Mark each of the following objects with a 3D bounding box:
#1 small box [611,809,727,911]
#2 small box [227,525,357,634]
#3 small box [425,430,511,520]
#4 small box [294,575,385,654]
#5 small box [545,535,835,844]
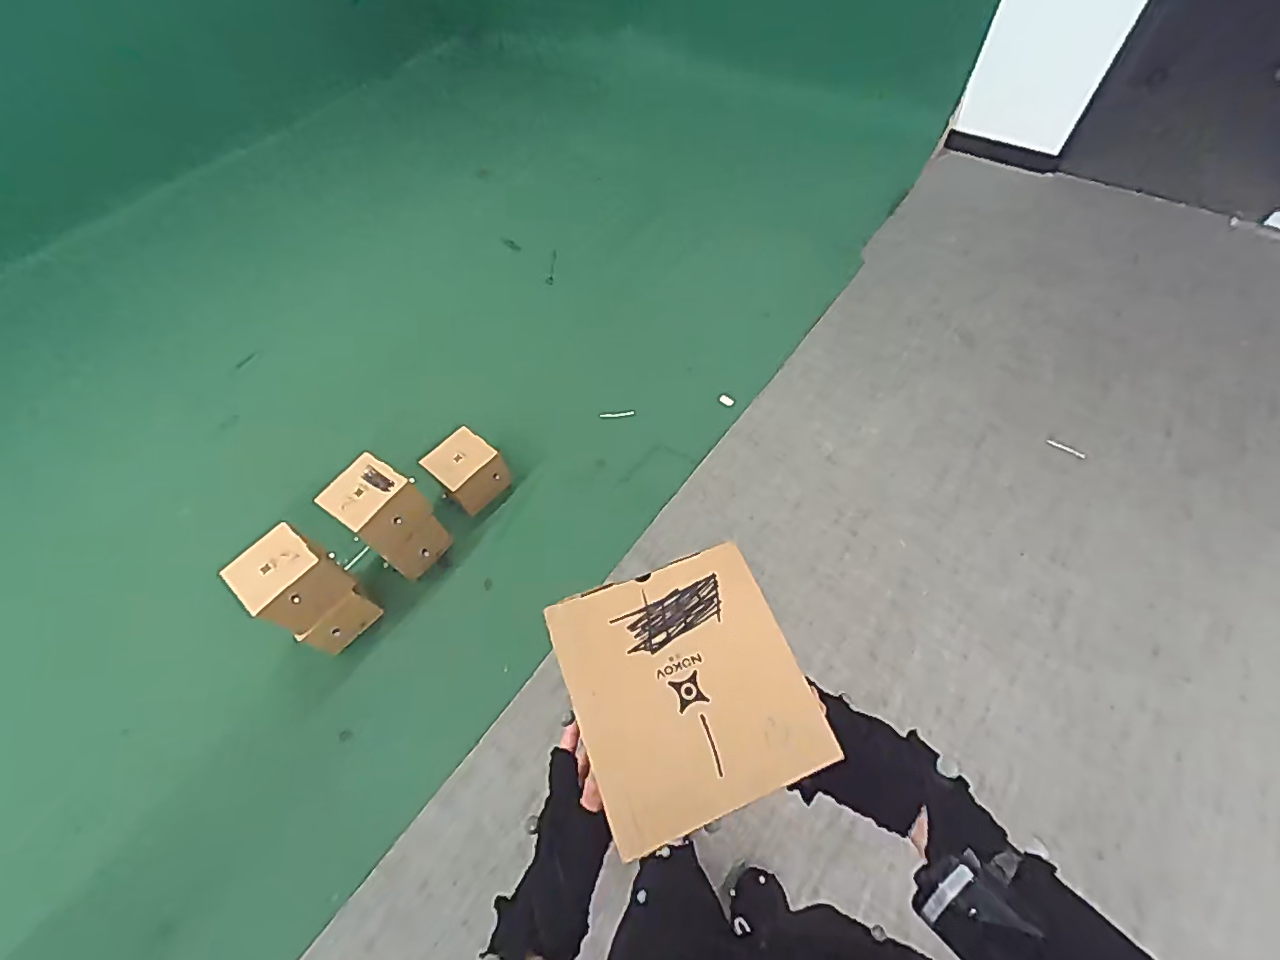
[{"bbox_3d":[0.058,0.769,1.151,0.179,0.176,0.168,15,70,33],"label":"small box"},{"bbox_3d":[-0.845,0.250,1.328,0.168,0.176,0.179,36,68,23],"label":"small box"},{"bbox_3d":[-0.516,-0.012,1.658,0.168,0.176,0.179,36,68,23],"label":"small box"},{"bbox_3d":[-0.831,0.347,1.461,0.179,0.176,0.168,37,68,24],"label":"small box"},{"bbox_3d":[0.027,0.178,0.462,0.168,0.176,0.179,-18,62,-12],"label":"small box"}]
